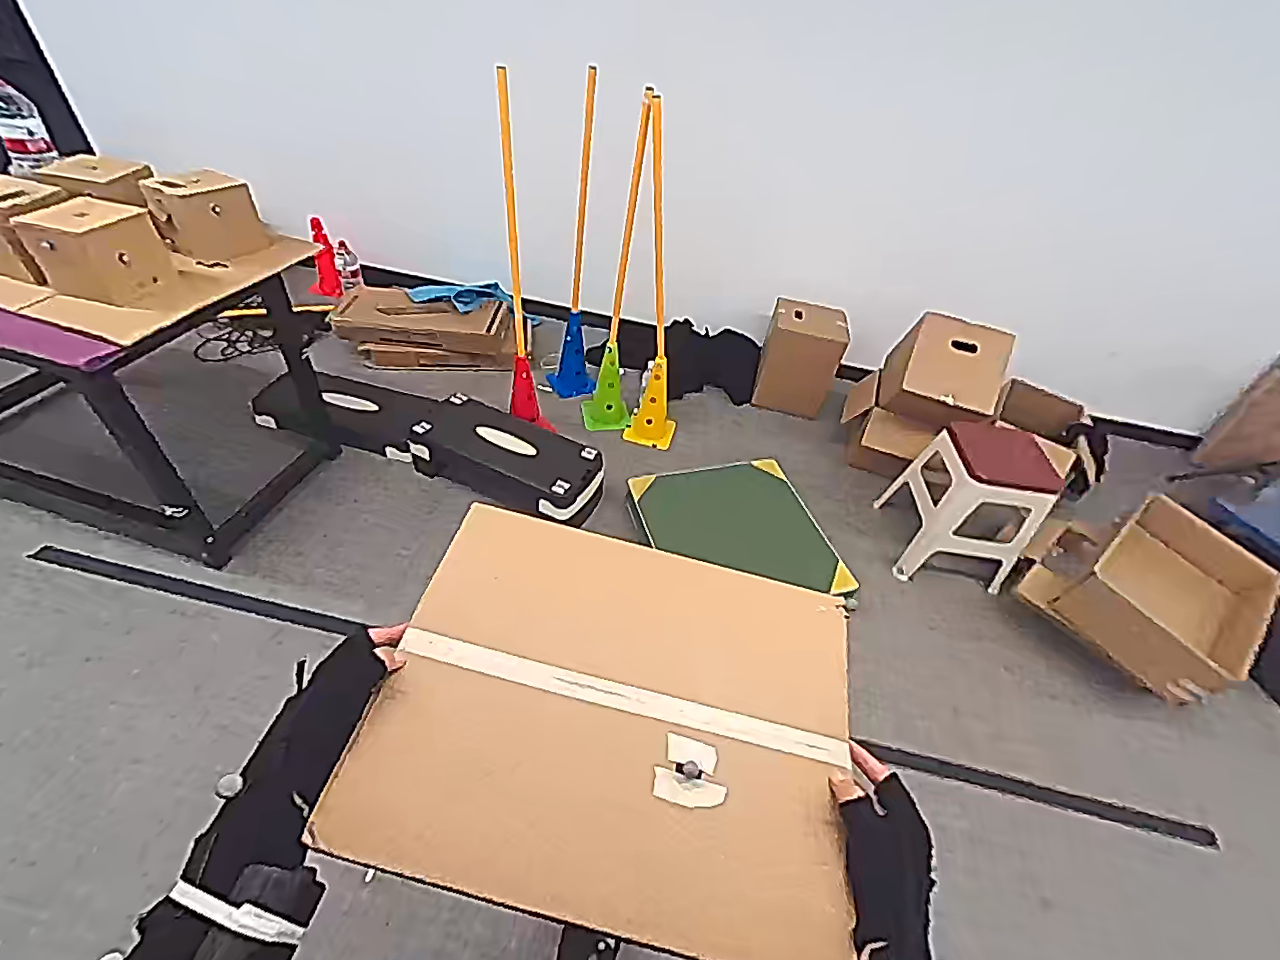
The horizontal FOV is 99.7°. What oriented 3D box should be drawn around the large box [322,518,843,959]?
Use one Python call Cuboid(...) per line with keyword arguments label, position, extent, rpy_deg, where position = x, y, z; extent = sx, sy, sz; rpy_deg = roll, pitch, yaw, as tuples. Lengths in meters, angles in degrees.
Cuboid(label="large box", position=(-0.038, 0.291, 0.603), extent=(0.408, 0.320, 0.320), rpy_deg=(15, 52, 1))
